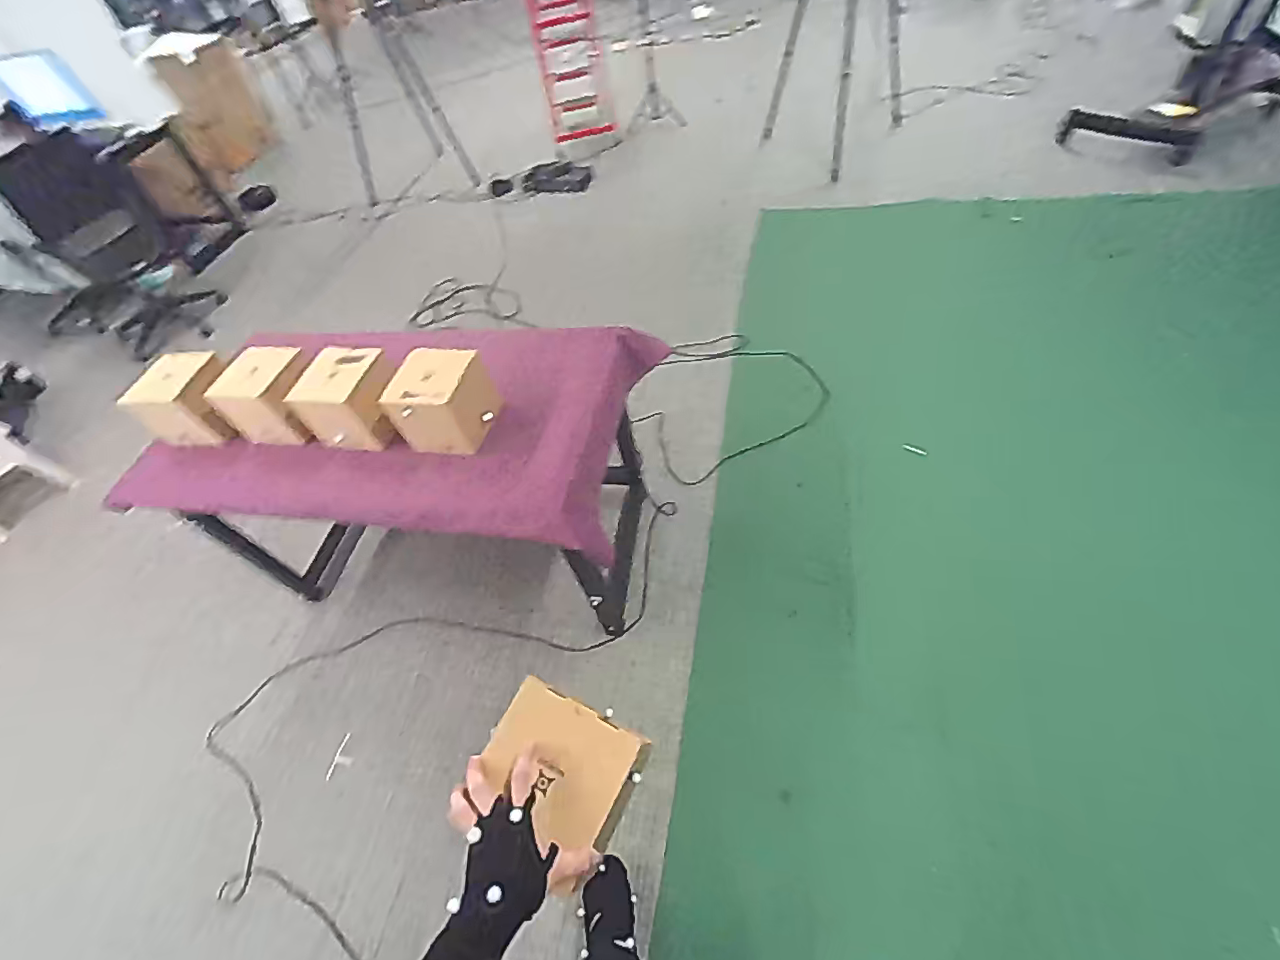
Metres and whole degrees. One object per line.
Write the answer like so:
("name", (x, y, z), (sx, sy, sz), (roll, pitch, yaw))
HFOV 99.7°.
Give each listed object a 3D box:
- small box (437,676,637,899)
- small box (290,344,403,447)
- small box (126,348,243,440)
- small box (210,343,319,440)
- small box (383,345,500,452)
("small box", (-0.114, 0.379, 0.689), (0.168, 0.176, 0.179), (21, 66, 17))
("small box", (-0.680, -0.204, 1.304), (0.168, 0.176, 0.179), (6, 56, 15))
("small box", (-1.152, -0.223, 1.411), (0.168, 0.176, 0.179), (0, 54, 11))
("small box", (-0.907, -0.224, 1.363), (0.168, 0.176, 0.179), (4, 54, 14))
("small box", (-0.443, -0.189, 1.246), (0.168, 0.176, 0.179), (5, 54, 15))
